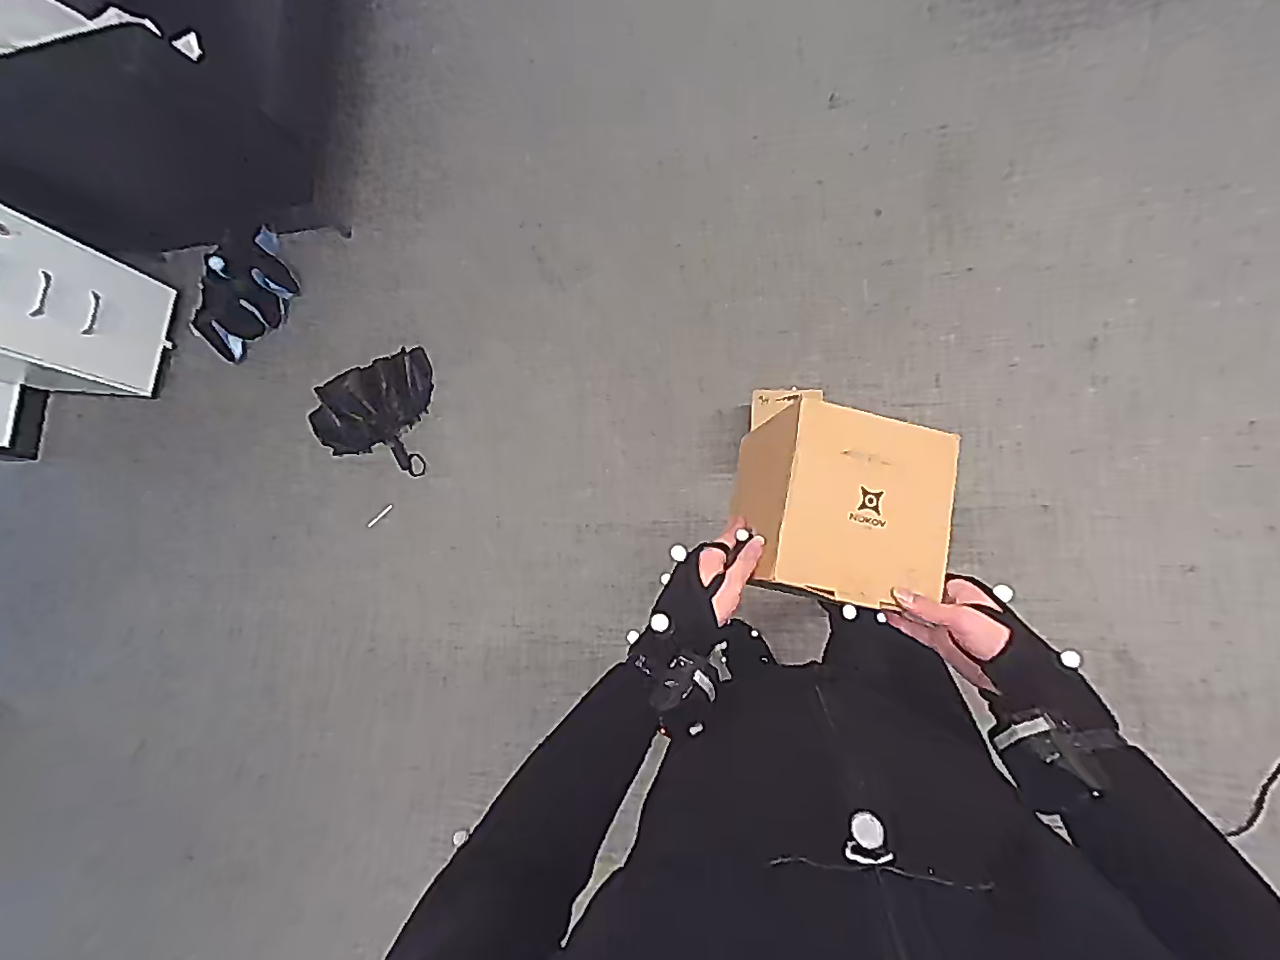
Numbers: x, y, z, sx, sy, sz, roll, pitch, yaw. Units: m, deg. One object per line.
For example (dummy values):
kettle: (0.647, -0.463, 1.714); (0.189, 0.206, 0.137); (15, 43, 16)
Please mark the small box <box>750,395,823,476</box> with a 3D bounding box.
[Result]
small box: (0.369, -0.108, 1.367); (0.168, 0.176, 0.179); (1, 81, 13)
